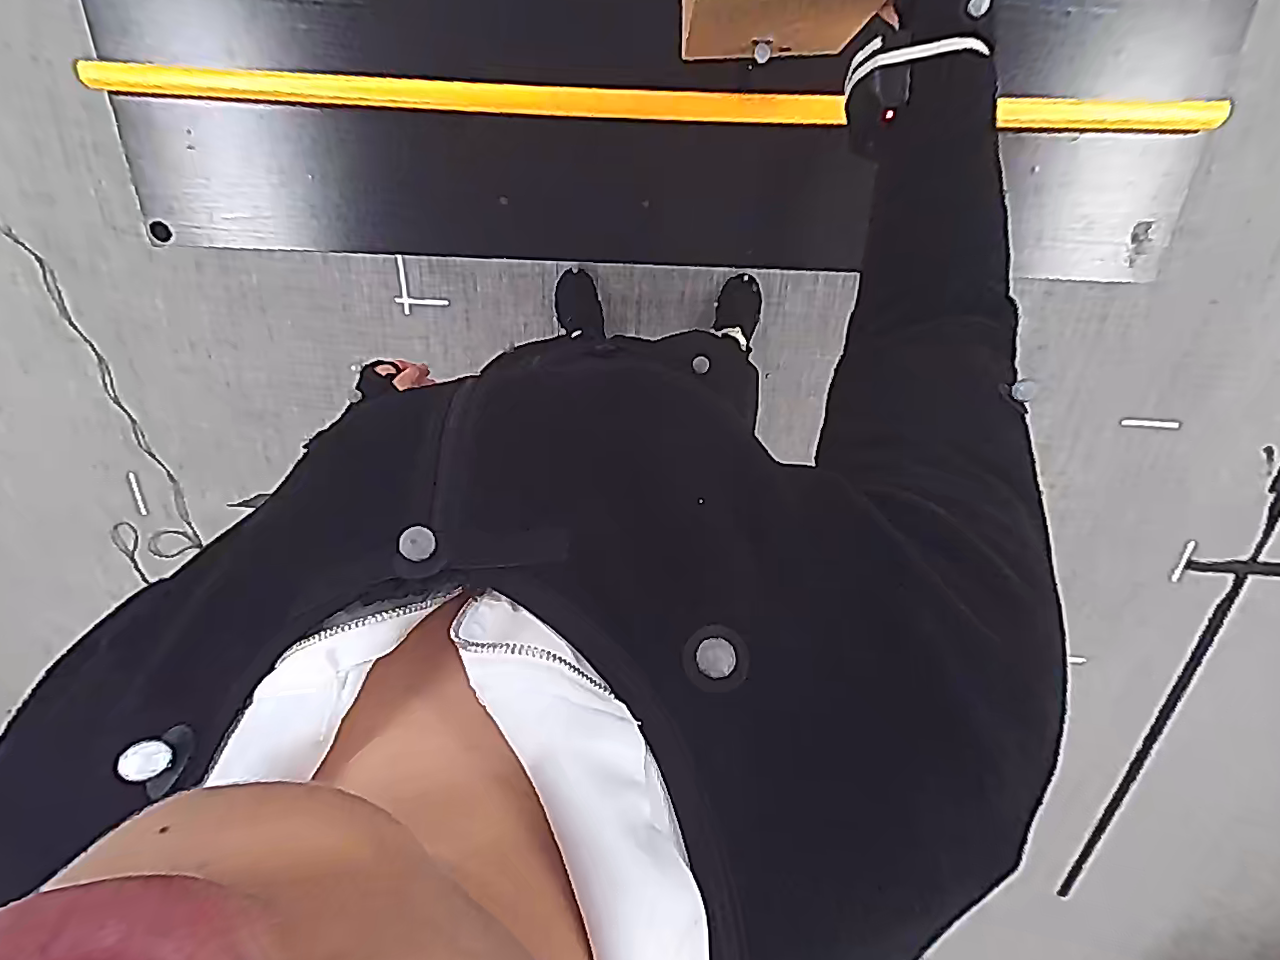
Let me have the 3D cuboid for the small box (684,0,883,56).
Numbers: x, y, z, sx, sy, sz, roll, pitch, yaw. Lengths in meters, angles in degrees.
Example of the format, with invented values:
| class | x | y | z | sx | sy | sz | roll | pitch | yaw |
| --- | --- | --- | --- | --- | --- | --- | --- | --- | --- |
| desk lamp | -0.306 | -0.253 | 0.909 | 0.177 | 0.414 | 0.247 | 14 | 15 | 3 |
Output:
| class | x | y | z | sx | sy | sz | roll | pitch | yaw |
| --- | --- | --- | --- | --- | --- | --- | --- | --- | --- |
| small box | 0.125 | -0.502 | 0.468 | 0.168 | 0.176 | 0.179 | -1 | 114 | 2 |
